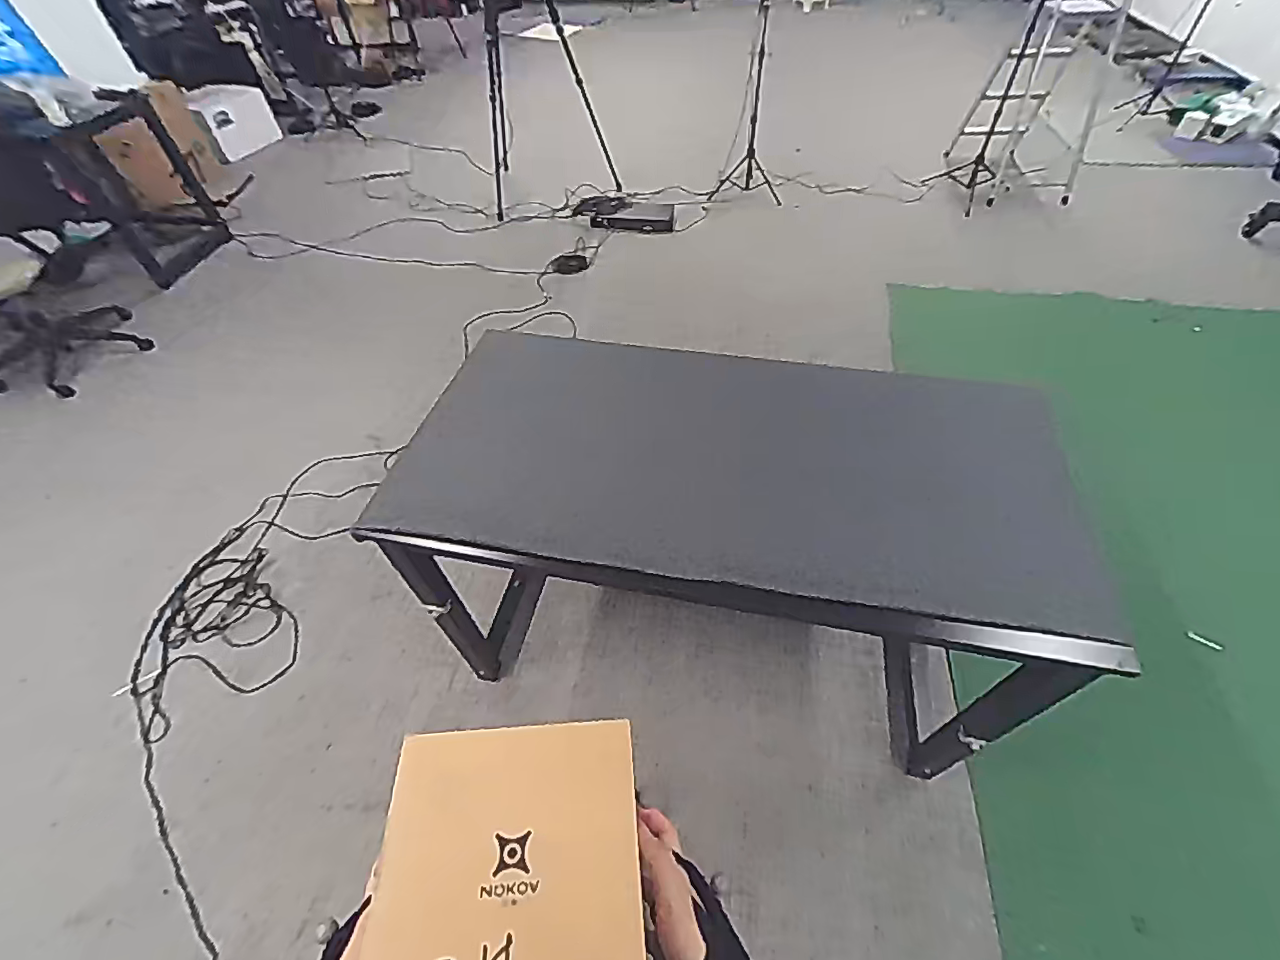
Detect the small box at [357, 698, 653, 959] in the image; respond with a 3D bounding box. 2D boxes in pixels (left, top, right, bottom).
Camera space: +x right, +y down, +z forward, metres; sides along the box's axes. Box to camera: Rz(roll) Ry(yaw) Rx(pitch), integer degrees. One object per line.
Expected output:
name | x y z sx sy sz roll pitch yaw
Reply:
small box | -0.082 0.282 0.396 0.168 0.176 0.179 -2 48 -5
